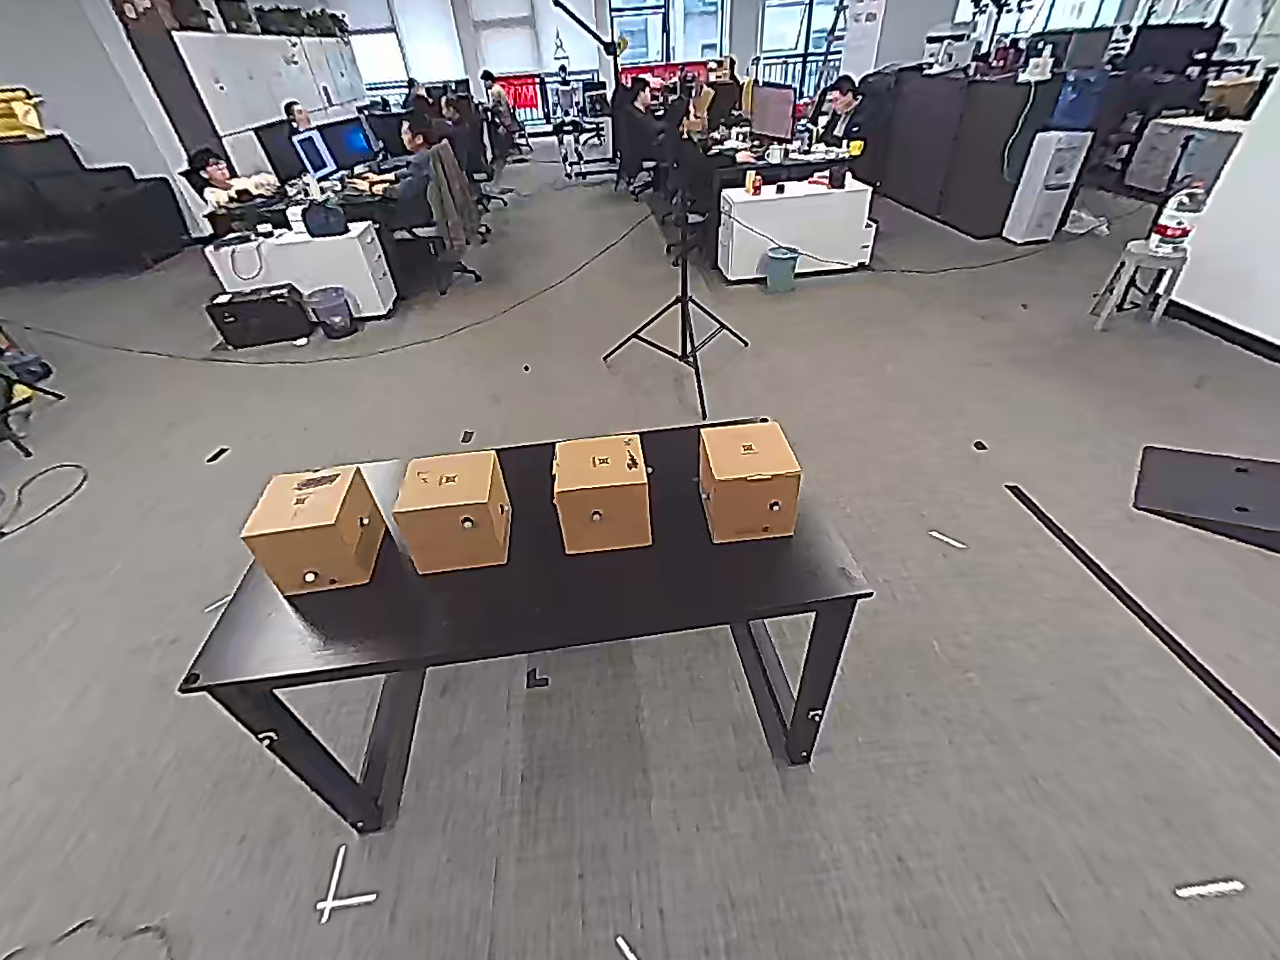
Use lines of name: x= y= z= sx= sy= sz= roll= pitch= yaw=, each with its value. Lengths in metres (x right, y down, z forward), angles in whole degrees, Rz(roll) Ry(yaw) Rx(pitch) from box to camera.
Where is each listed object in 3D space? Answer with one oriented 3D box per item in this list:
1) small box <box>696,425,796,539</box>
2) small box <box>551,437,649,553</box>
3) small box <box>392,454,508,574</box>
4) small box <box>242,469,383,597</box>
small box: x=0.210 y=0.009 z=1.114 sx=0.168 sy=0.176 sz=0.179 roll=-5 pitch=38 yaw=-2
small box: x=-0.080 y=0.034 z=1.112 sx=0.179 sy=0.176 sz=0.168 roll=-7 pitch=39 yaw=-2
small box: x=-0.370 y=0.069 z=1.093 sx=0.179 sy=0.176 sz=0.168 roll=-7 pitch=38 yaw=-4
small box: x=-0.634 y=0.104 z=1.075 sx=0.168 sy=0.176 sz=0.179 roll=-8 pitch=40 yaw=-5
